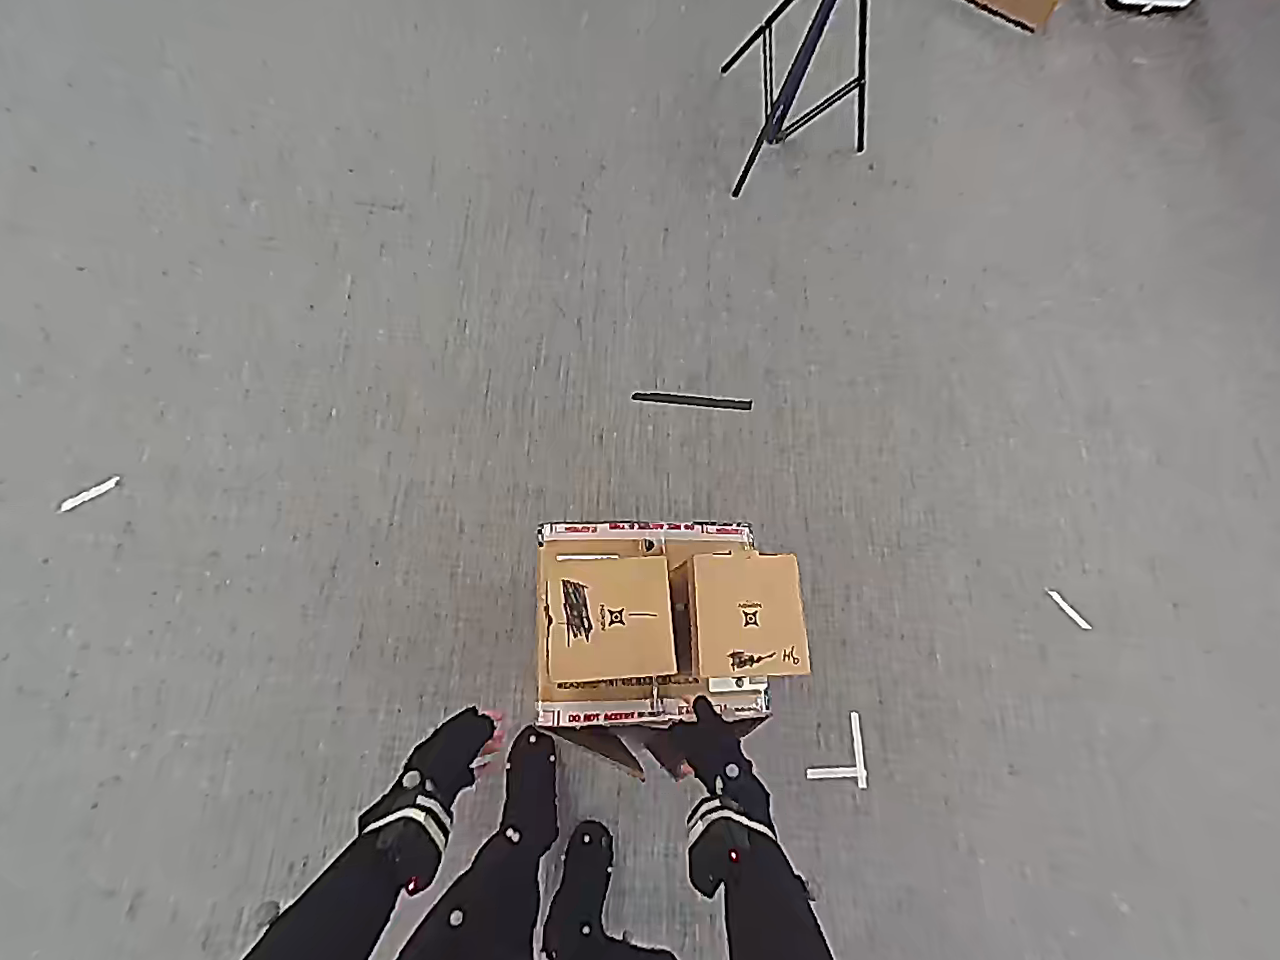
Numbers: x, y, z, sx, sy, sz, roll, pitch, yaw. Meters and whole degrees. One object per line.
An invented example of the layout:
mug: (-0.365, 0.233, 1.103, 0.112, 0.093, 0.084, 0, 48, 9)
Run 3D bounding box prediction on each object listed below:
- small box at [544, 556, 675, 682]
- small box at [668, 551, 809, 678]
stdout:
small box: (-0.053, 0.215, 0.821, 0.179, 0.176, 0.168, -2, 71, -9)
small box: (0.143, 0.217, 0.852, 0.168, 0.176, 0.179, 2, 70, -10)
